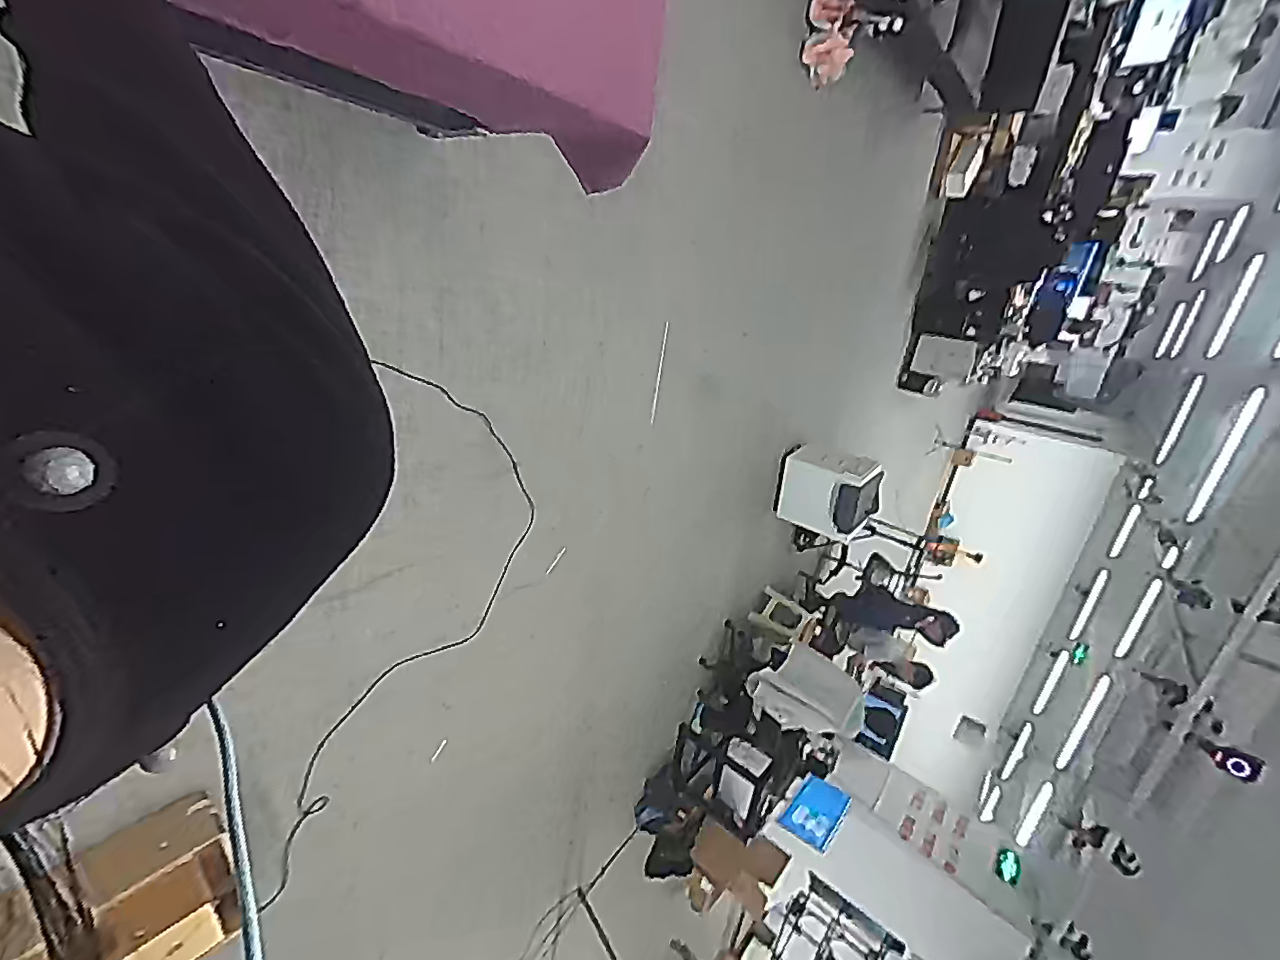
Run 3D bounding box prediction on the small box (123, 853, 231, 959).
[{"bbox_3d":[-1.246,1.166,1.458,0.179,0.176,0.168,-20,123,-43],"label":"small box"}]
